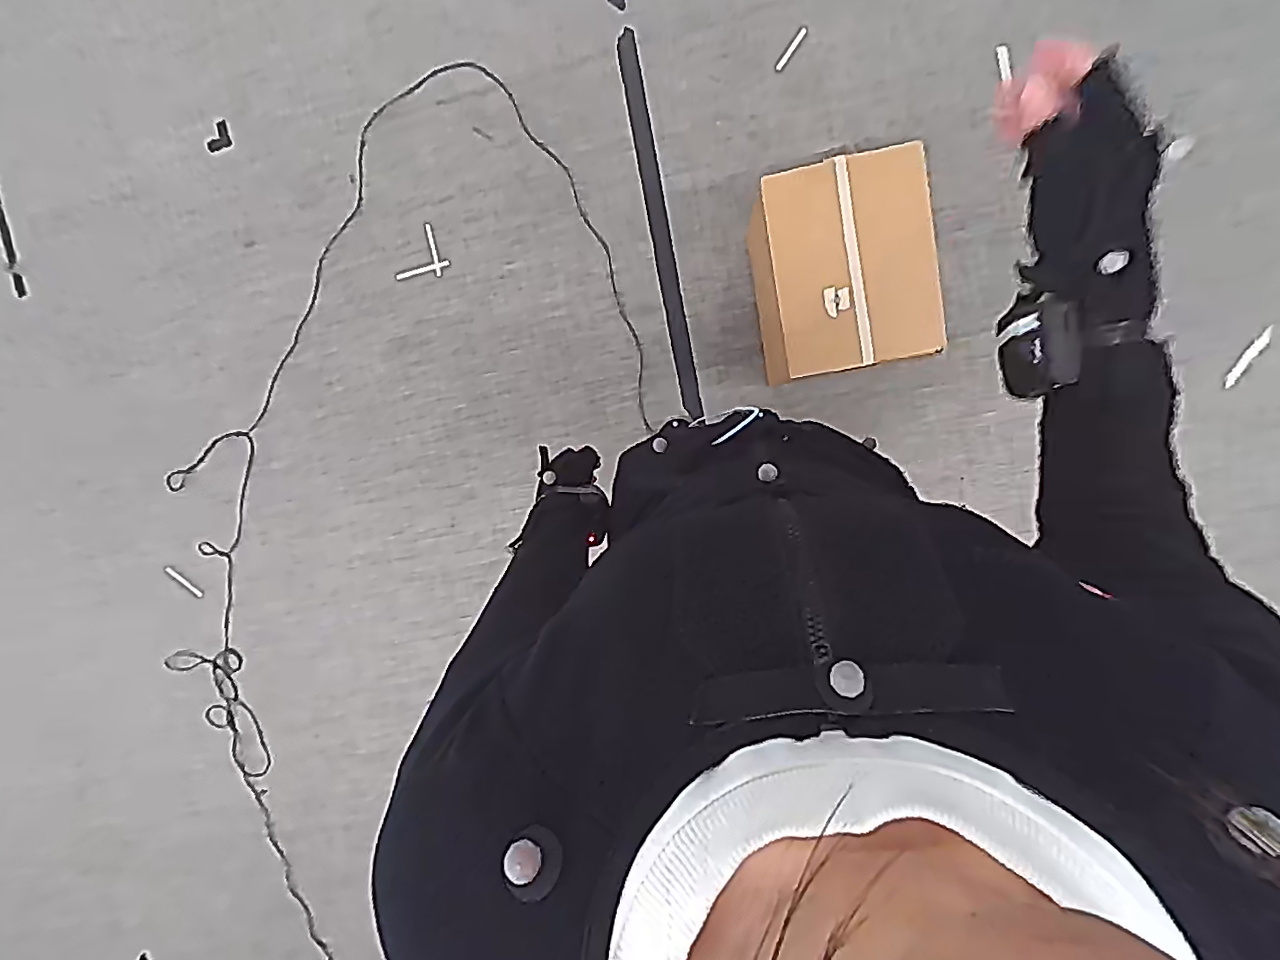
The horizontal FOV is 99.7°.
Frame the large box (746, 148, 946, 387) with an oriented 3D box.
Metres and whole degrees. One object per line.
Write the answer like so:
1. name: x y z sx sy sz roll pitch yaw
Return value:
1. large box: 0.440 -0.443 1.228 0.320 0.320 0.408 -10 96 8
